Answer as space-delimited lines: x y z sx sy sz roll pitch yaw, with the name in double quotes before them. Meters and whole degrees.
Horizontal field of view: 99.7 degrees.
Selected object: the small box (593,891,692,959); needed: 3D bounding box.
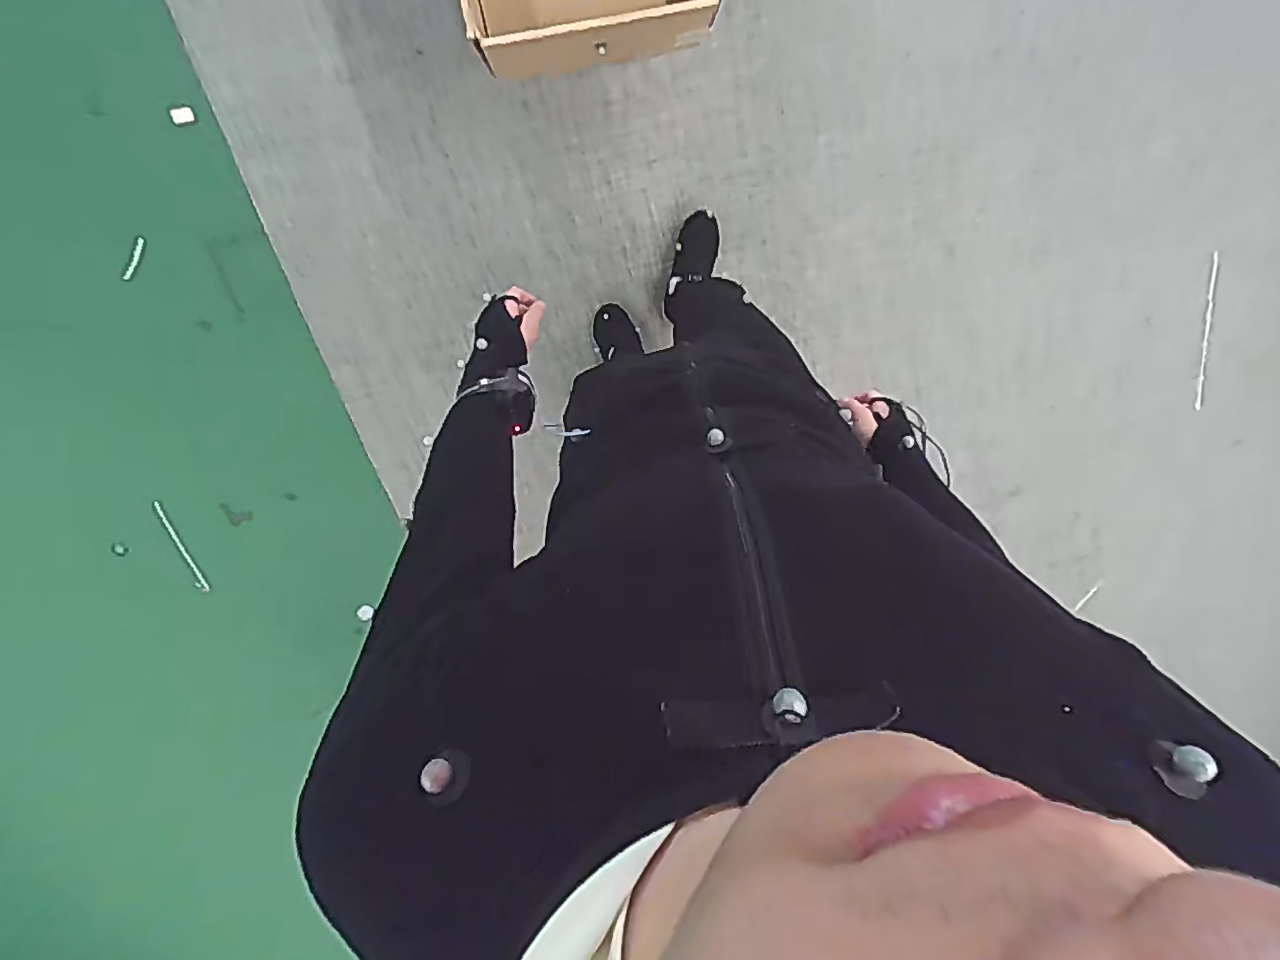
"small box" 0.006 1.065 1.191 0.168 0.176 0.179 39 102 -17
